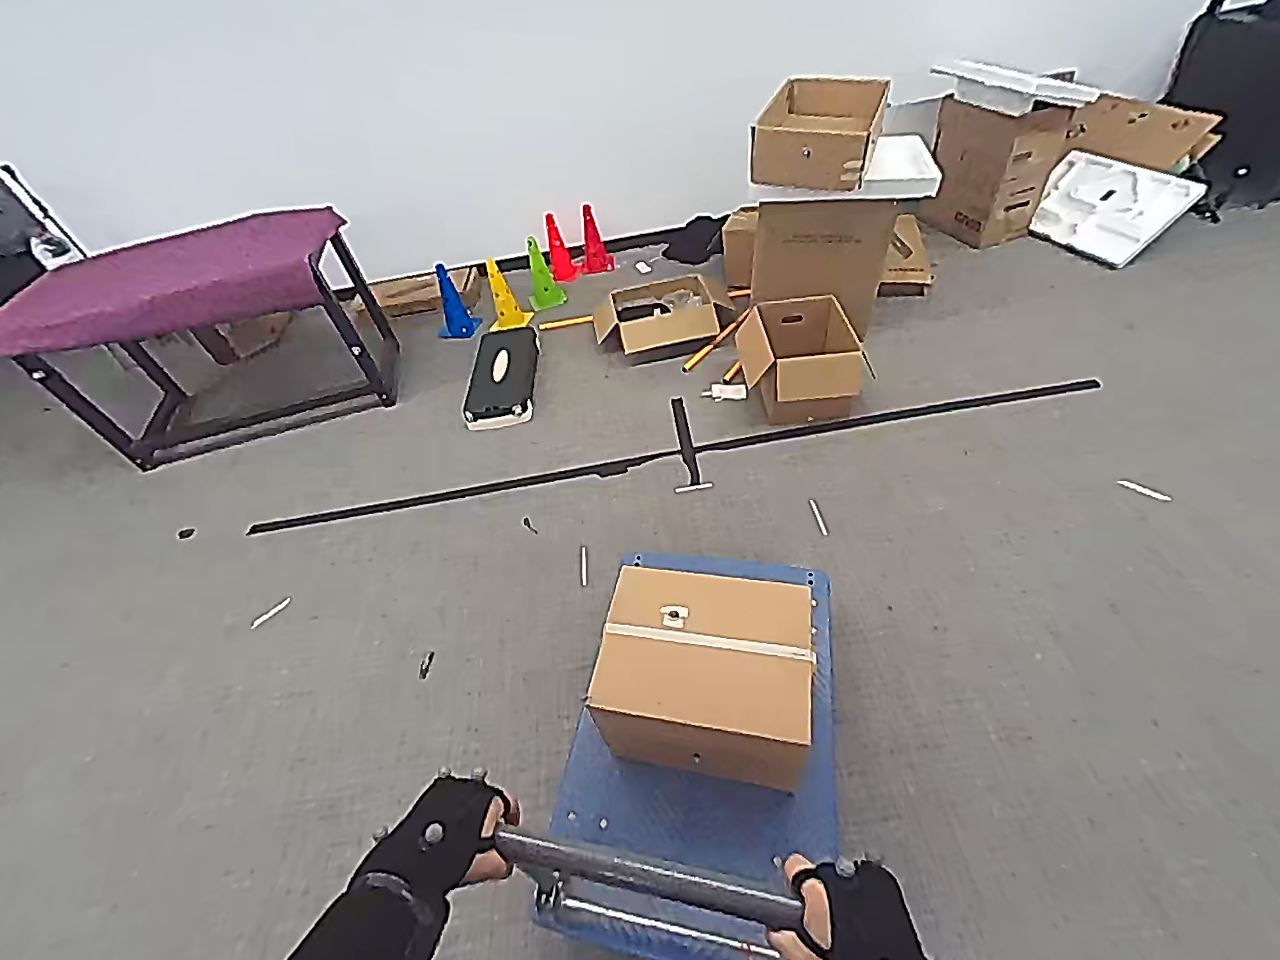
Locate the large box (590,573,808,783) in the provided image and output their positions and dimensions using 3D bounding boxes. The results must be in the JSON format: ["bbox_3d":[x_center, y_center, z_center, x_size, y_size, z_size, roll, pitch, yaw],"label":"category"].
[{"bbox_3d":[0.147,0.430,1.182,0.408,0.320,0.320,3,47,14],"label":"large box"}]
